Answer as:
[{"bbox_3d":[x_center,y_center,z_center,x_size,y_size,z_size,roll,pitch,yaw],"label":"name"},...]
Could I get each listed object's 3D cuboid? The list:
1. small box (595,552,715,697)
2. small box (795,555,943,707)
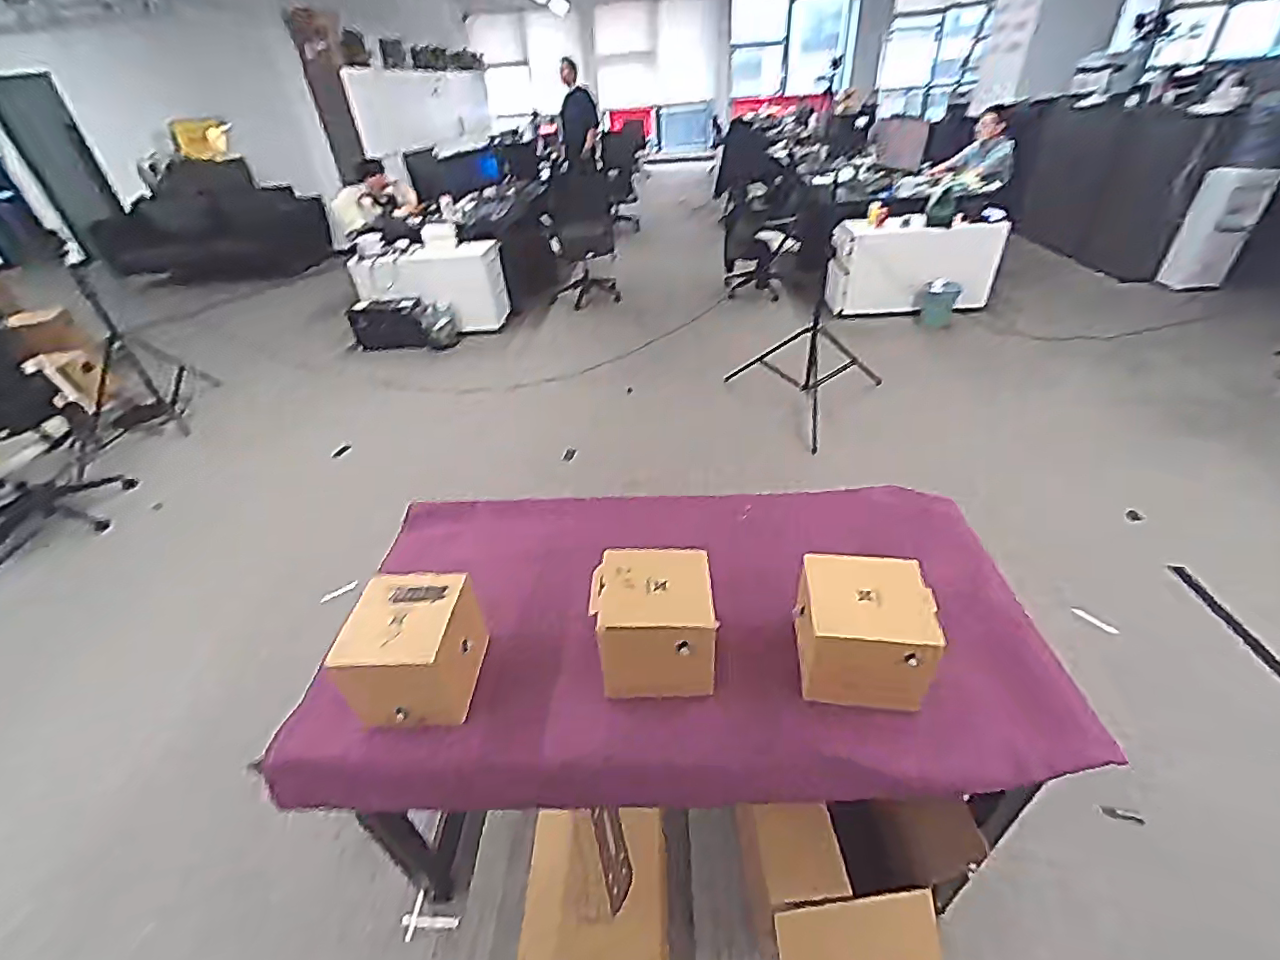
[{"bbox_3d":[0.027,0.238,0.888,0.179,0.176,0.168,-3,34,3],"label":"small box"},{"bbox_3d":[0.344,0.237,0.854,0.179,0.176,0.168,2,37,8],"label":"small box"}]
